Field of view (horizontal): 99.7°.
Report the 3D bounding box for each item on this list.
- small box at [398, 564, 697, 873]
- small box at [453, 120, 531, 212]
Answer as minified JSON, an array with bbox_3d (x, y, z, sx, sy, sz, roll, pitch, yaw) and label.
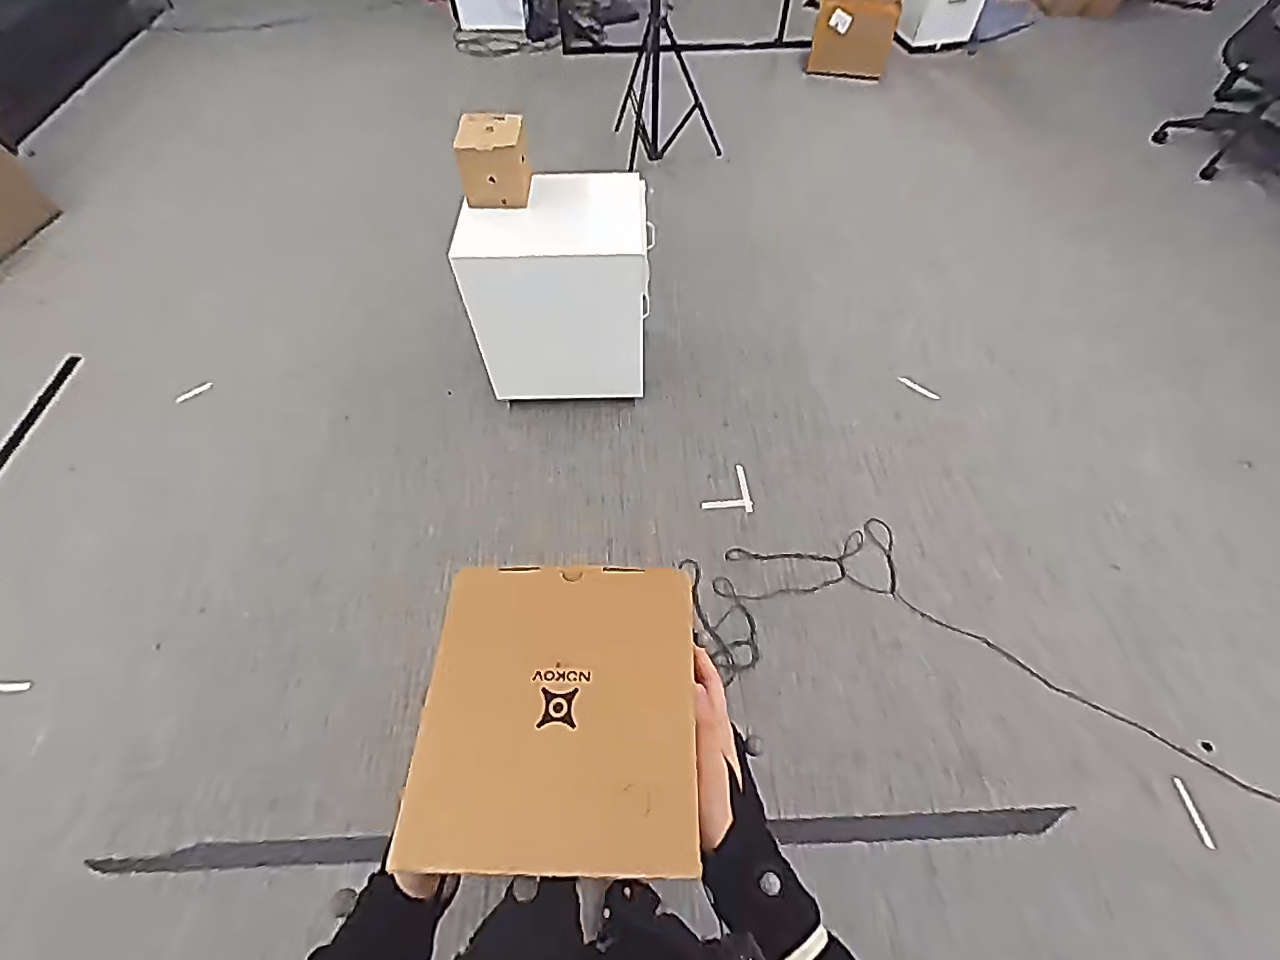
[{"bbox_3d":[-0.045,0.176,0.397,0.168,0.176,0.179,0,55,2],"label":"small box"},{"bbox_3d":[-0.403,-0.869,1.504,0.168,0.176,0.179,-1,59,-1],"label":"small box"}]
